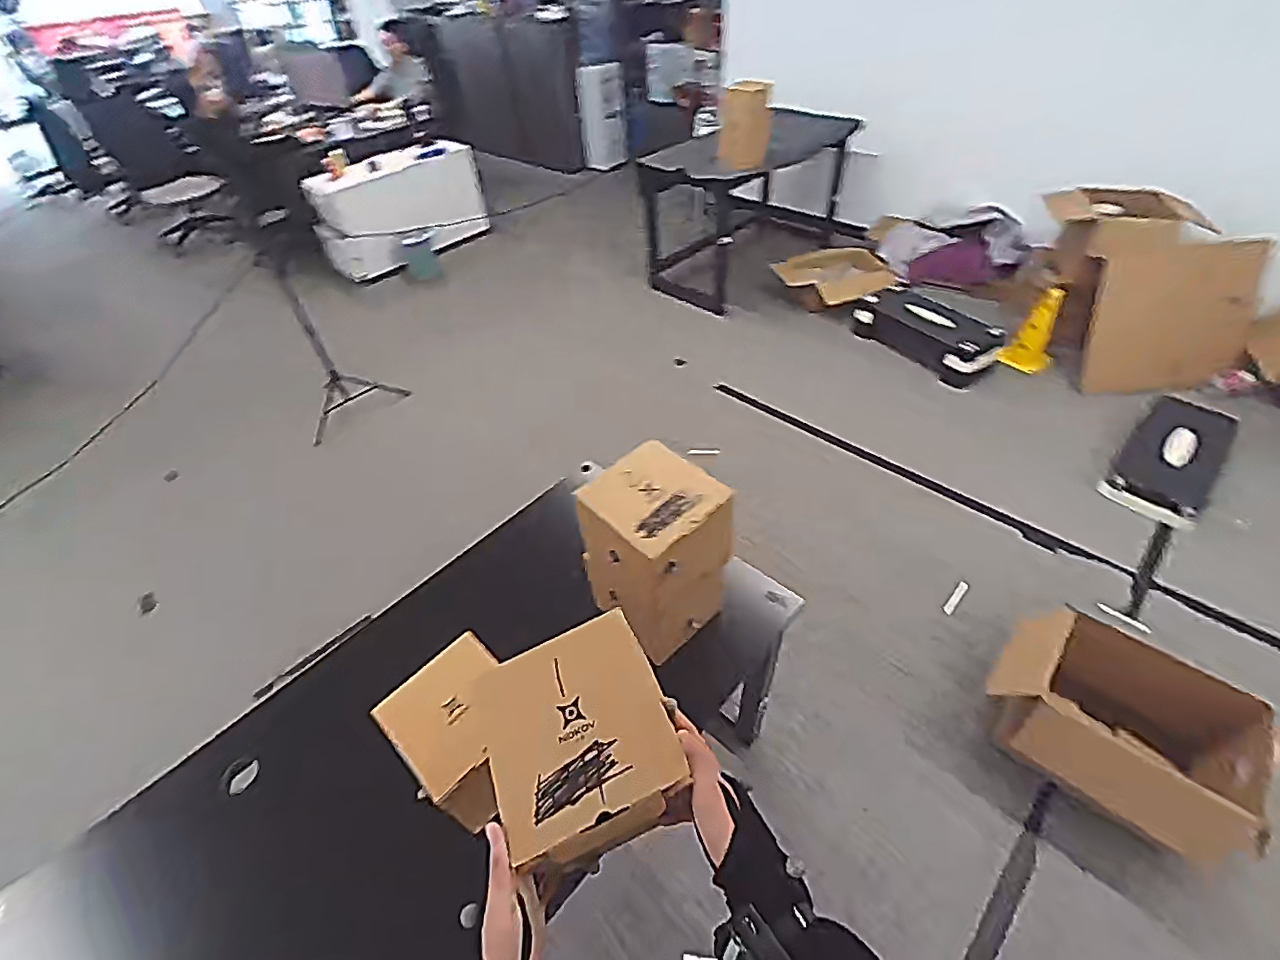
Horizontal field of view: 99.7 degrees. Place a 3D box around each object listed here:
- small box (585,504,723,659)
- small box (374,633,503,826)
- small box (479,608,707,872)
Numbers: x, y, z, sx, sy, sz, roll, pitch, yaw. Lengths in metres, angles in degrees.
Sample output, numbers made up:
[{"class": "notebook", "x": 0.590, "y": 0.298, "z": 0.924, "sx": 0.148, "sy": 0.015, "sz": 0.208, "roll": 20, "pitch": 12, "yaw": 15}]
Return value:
[{"class": "small box", "x": 0.027, "y": 0.181, "z": 0.960, "sx": 0.168, "sy": 0.176, "sz": 0.179, "roll": -36, "pitch": 53, "yaw": -24}, {"class": "small box", "x": -0.252, "y": 0.373, "z": 0.806, "sx": 0.179, "sy": 0.176, "sz": 0.168, "roll": 32, "pitch": 57, "yaw": 30}, {"class": "small box", "x": -0.041, "y": 0.267, "z": 0.556, "sx": 0.168, "sy": 0.176, "sz": 0.179, "roll": -24, "pitch": 53, "yaw": -5}]
